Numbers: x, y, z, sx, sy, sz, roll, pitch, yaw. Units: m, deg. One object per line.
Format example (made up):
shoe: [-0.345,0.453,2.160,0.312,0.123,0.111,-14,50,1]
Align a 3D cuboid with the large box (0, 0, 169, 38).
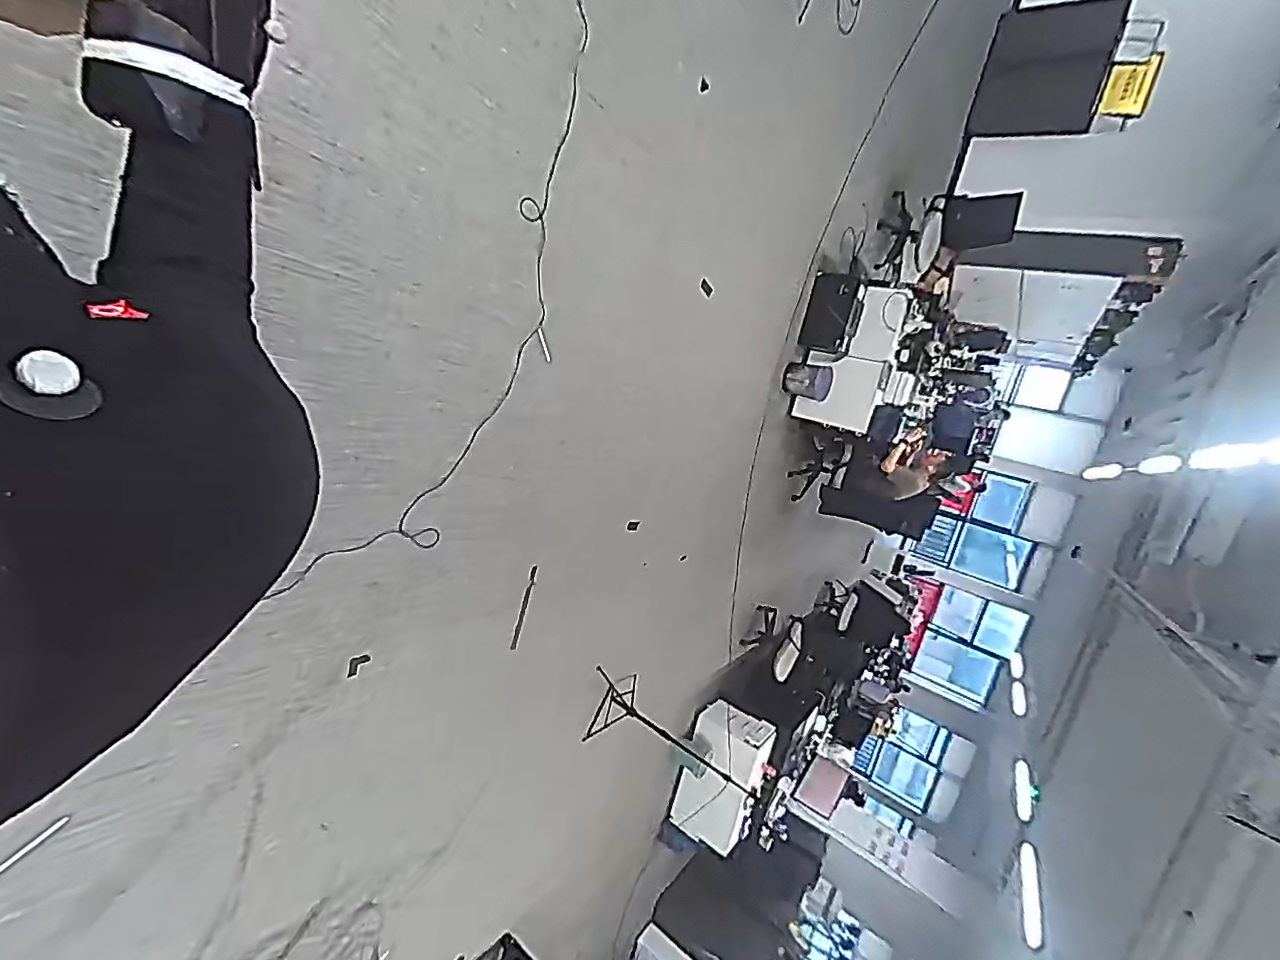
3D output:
large box: [-0.495,-0.463,0.216,0.408,0.320,0.320,-9,121,-57]
